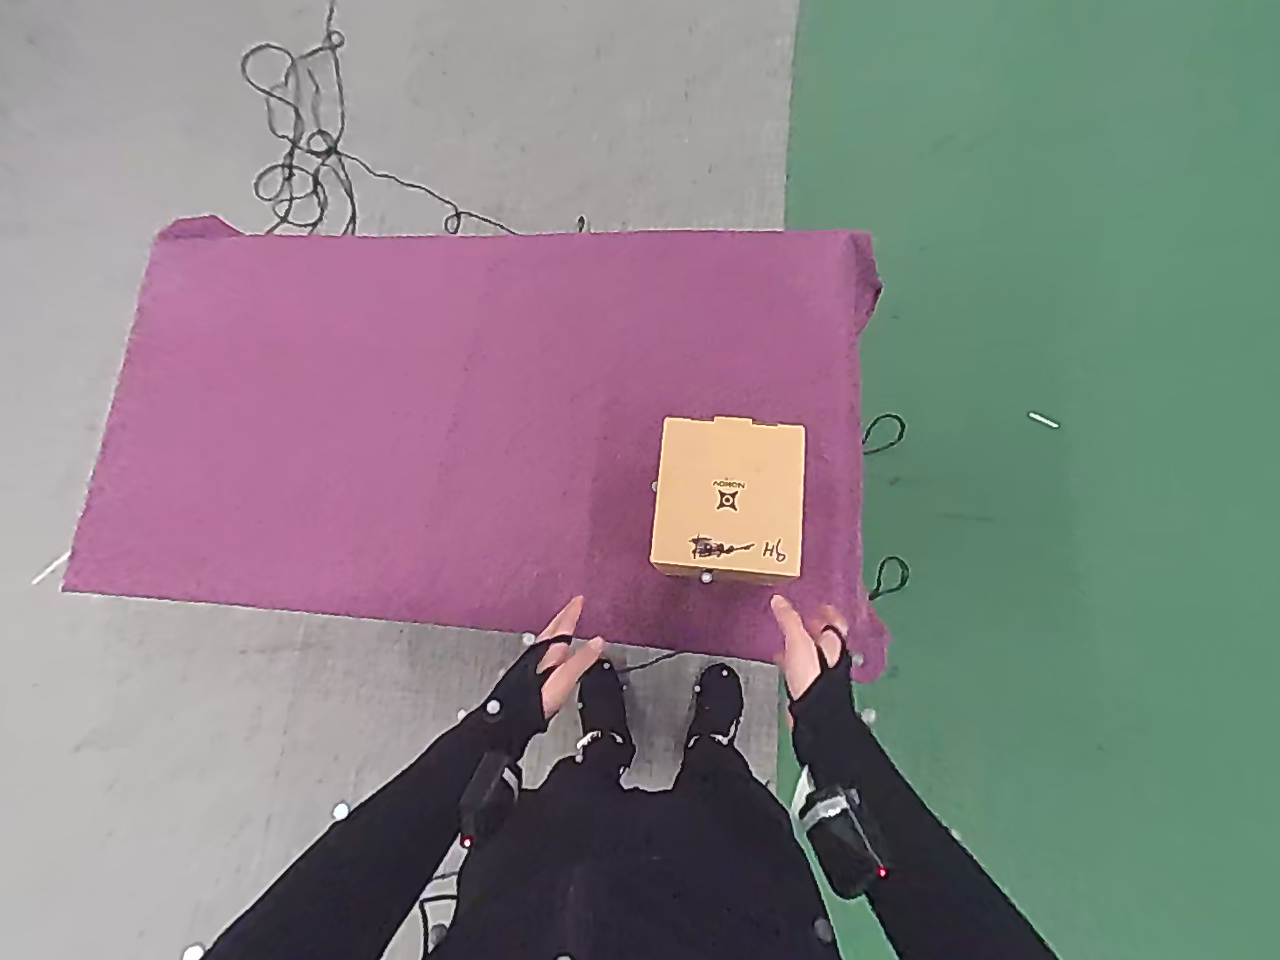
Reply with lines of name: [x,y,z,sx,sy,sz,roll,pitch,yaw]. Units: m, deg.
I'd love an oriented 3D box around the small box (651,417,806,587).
small box: [0.110,0.035,0.692,0.168,0.176,0.179,5,76,8]
